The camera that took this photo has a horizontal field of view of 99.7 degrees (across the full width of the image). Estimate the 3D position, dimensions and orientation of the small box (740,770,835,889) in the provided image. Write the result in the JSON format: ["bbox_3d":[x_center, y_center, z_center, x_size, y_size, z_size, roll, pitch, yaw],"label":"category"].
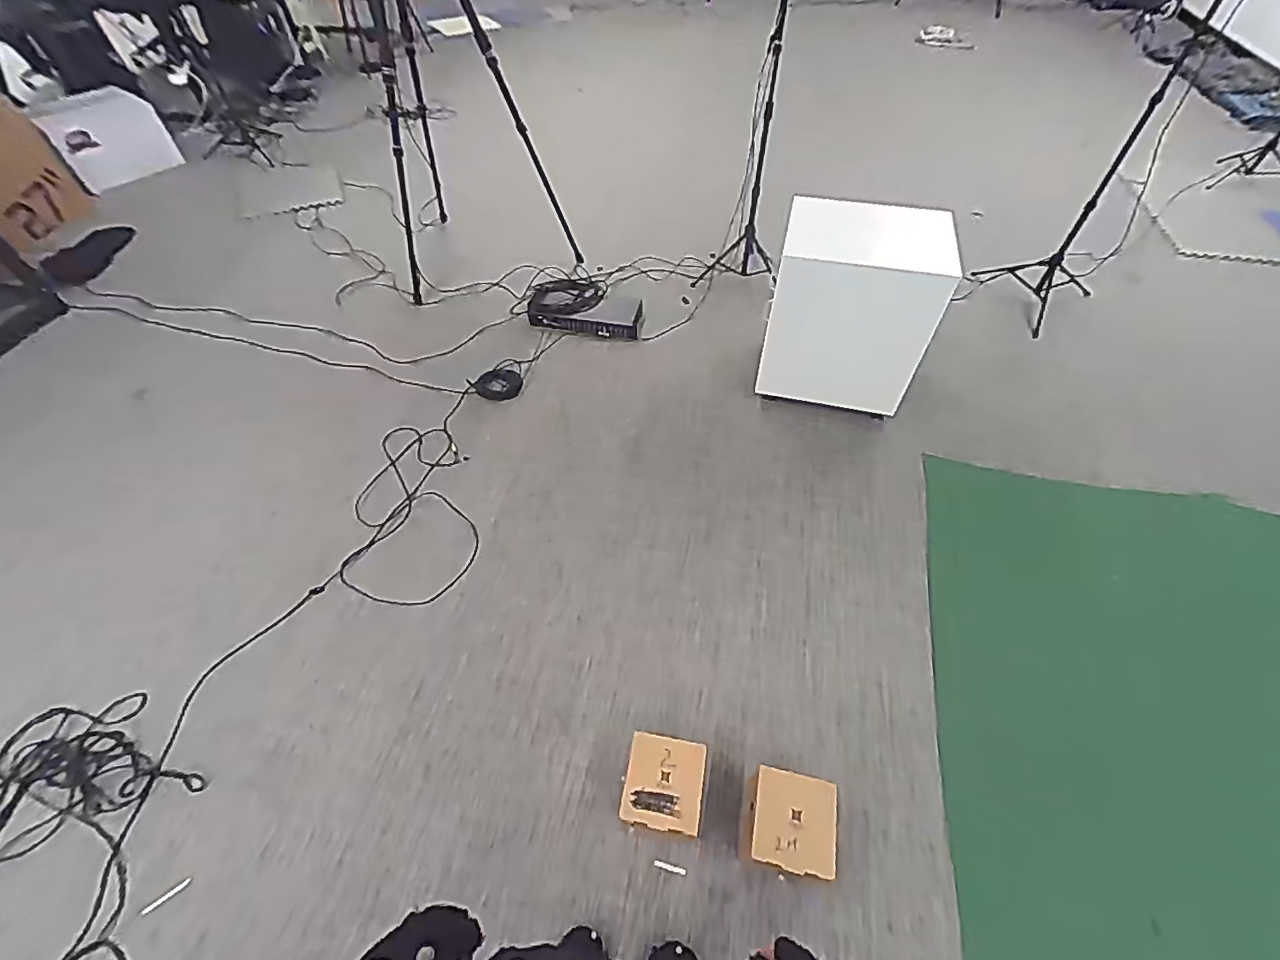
[{"bbox_3d":[0.317,0.761,1.175,0.168,0.176,0.179,10,53,10],"label":"small box"}]
